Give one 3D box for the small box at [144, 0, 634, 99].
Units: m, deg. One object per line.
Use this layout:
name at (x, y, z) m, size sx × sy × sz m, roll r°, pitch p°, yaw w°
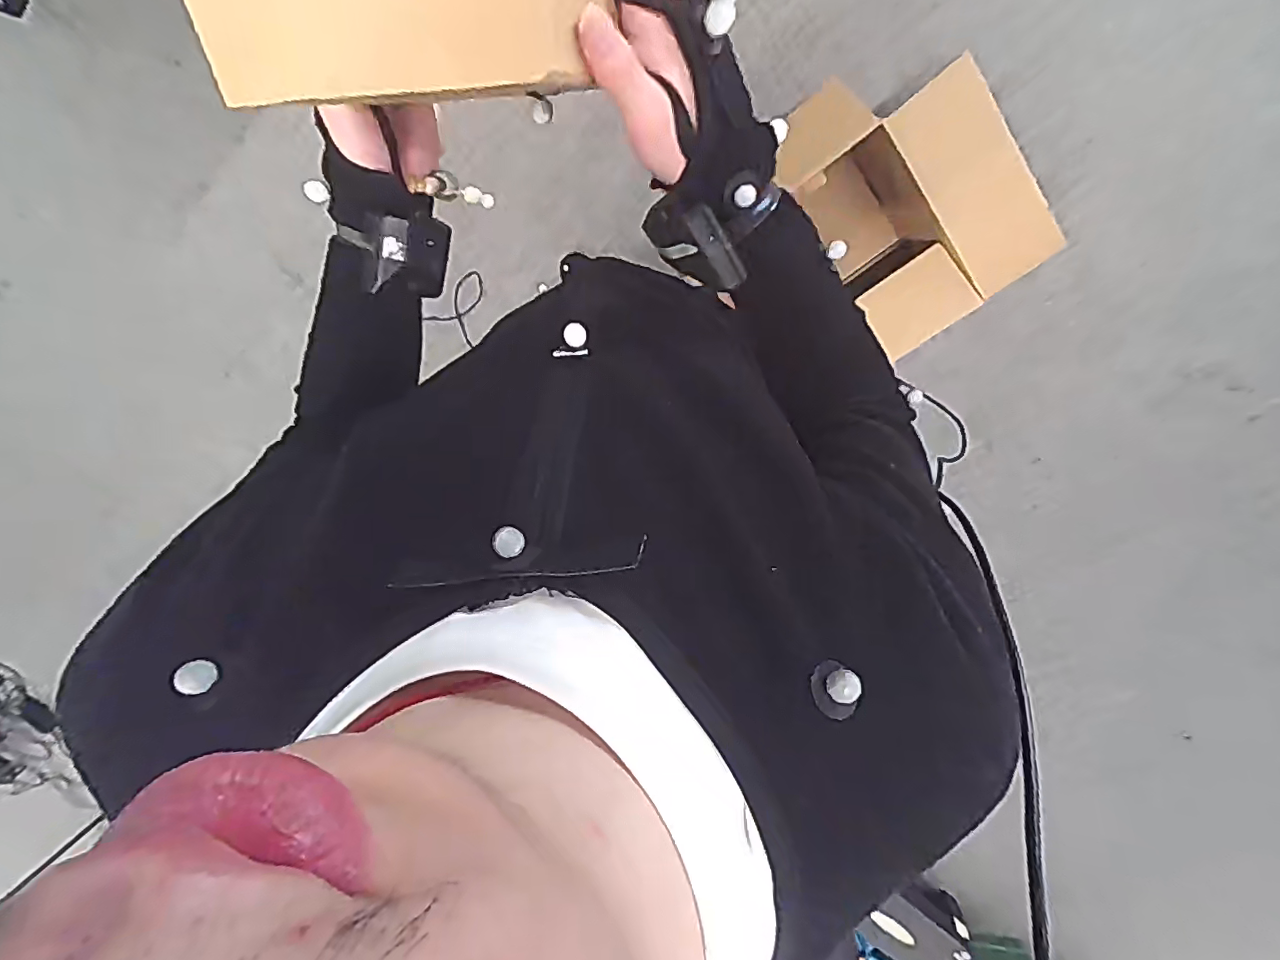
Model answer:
small box at (-0.106, -0.276, 0.239) m, size 0.179 × 0.176 × 0.168 m, roll 8°, pitch 127°, yaw 17°
